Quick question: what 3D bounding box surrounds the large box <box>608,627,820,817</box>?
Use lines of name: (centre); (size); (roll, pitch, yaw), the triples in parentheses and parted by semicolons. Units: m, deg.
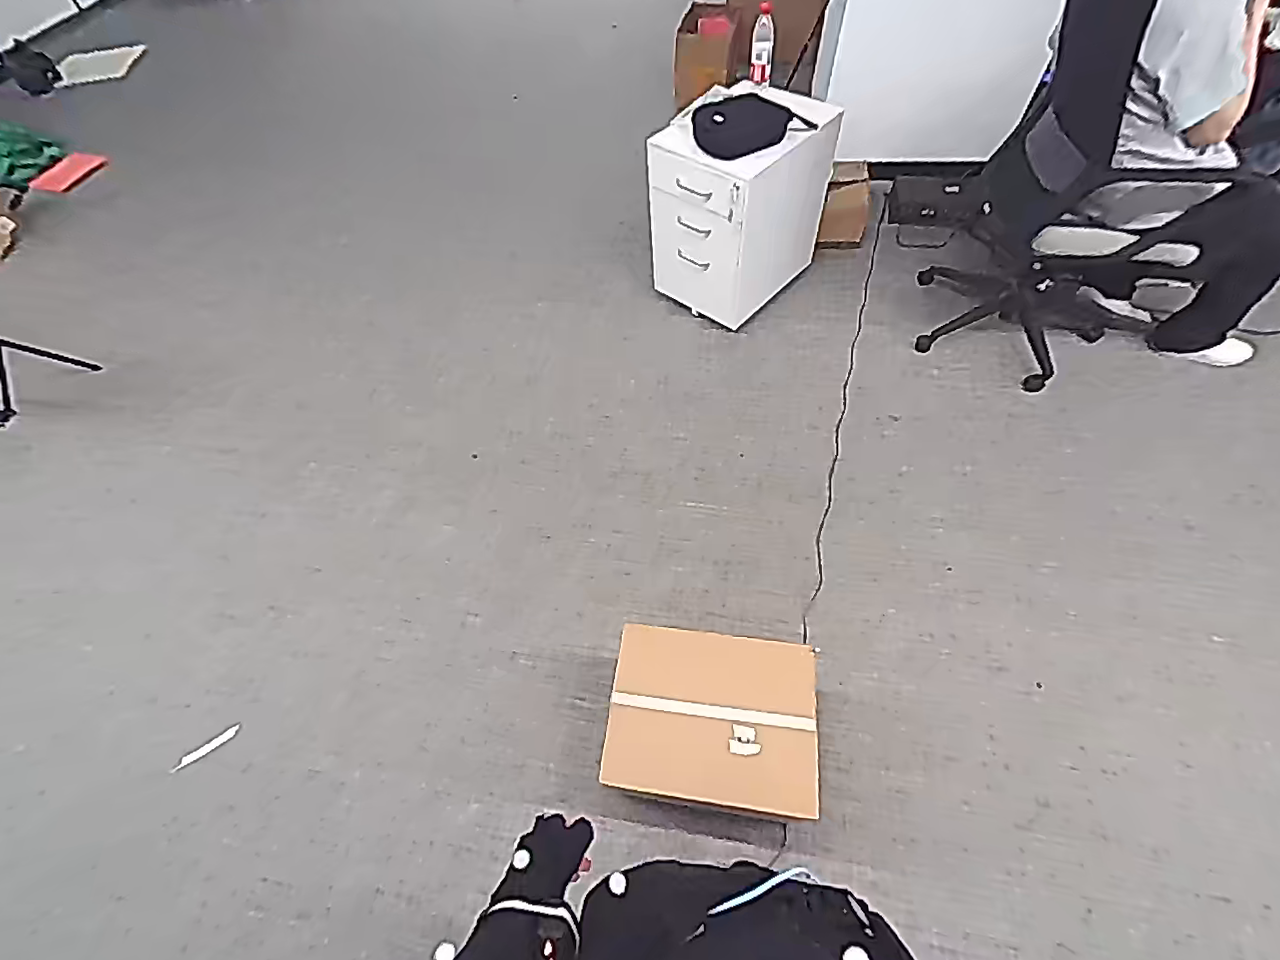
large box: (0.160, 0.546, 1.209); (0.408, 0.320, 0.320); (5, 59, 8)
